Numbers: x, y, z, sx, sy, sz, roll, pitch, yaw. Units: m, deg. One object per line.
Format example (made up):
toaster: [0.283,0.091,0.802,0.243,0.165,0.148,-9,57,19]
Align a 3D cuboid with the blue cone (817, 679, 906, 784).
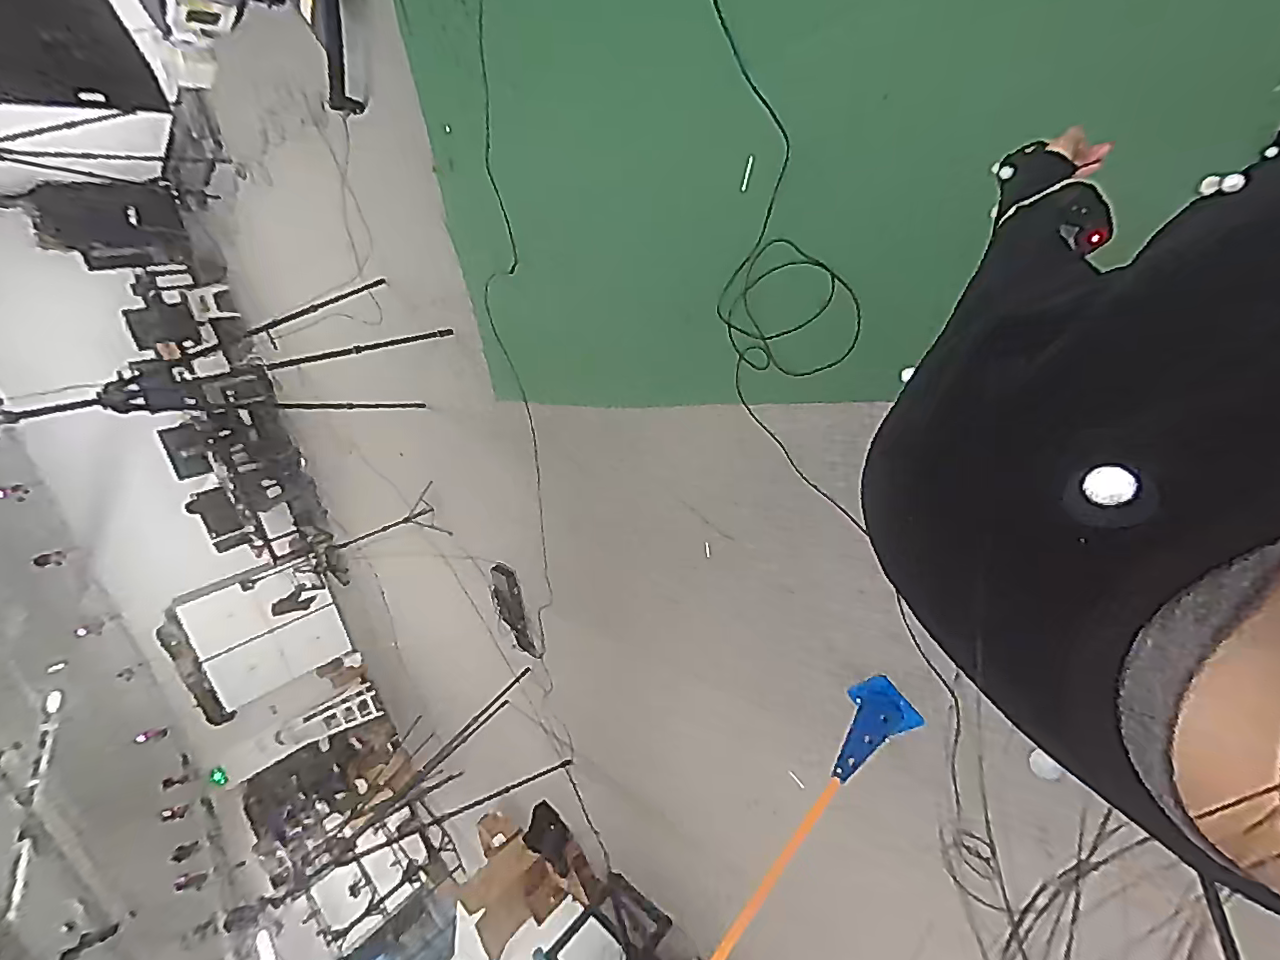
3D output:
blue cone: [0.695,0.855,1.775,0.192,0.380,0.193,48,140,15]
